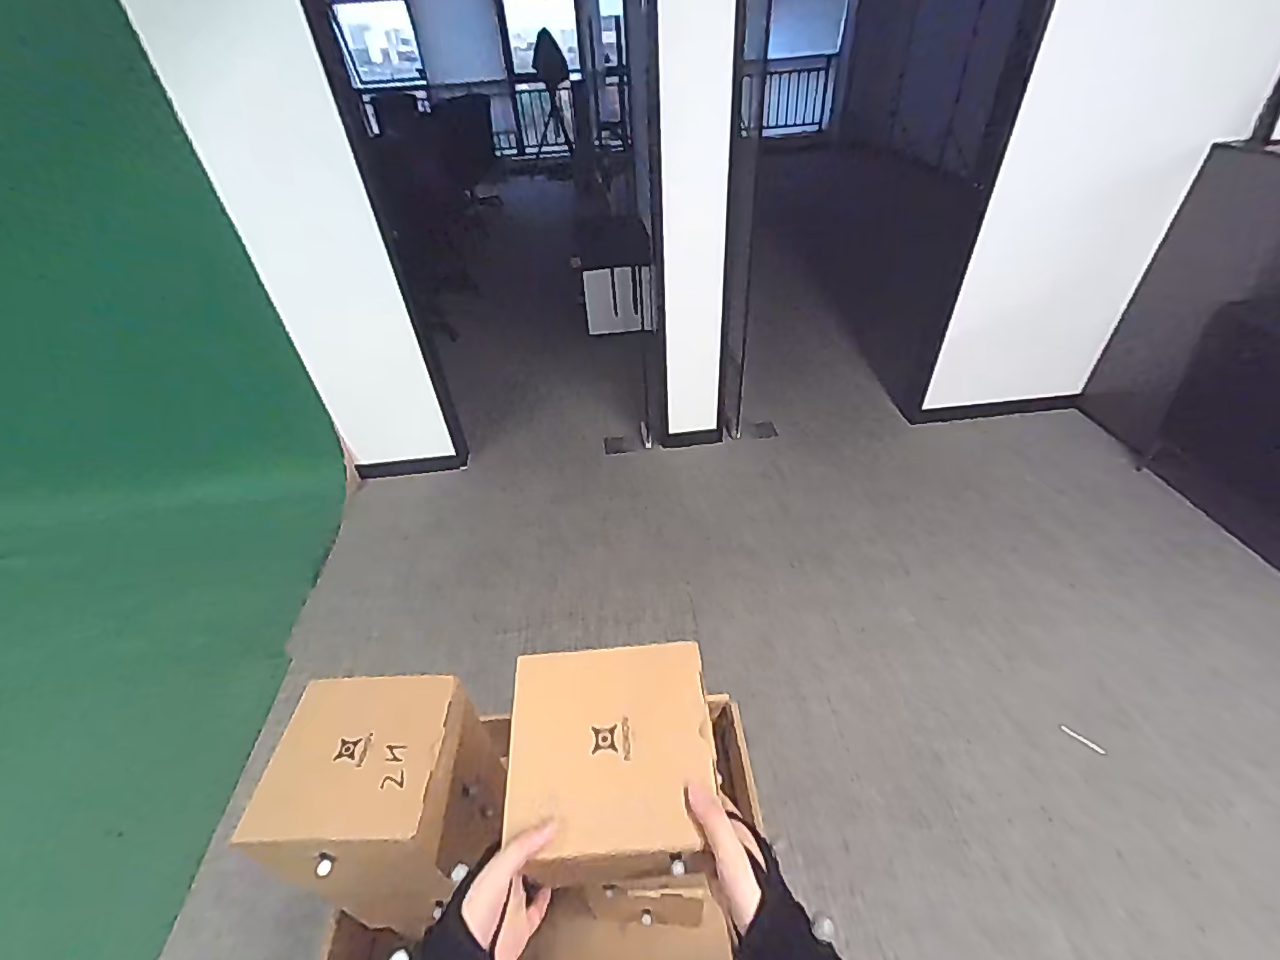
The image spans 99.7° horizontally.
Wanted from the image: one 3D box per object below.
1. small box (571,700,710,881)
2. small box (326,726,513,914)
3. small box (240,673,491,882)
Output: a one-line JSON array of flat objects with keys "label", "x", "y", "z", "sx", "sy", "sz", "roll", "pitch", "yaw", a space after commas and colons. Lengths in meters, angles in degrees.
[{"label": "small box", "x": 0.007, "y": 0.428, "z": 0.741, "sx": 0.168, "sy": 0.176, "sz": 0.179, "roll": -3, "pitch": 39, "yaw": 2}, {"label": "small box", "x": -0.278, "y": 0.462, "z": 0.732, "sx": 0.168, "sy": 0.176, "sz": 0.179, "roll": -4, "pitch": 40, "yaw": 0}, {"label": "small box", "x": -0.289, "y": 0.341, "z": 0.620, "sx": 0.179, "sy": 0.176, "sz": 0.168, "roll": -2, "pitch": 41, "yaw": 2}]
